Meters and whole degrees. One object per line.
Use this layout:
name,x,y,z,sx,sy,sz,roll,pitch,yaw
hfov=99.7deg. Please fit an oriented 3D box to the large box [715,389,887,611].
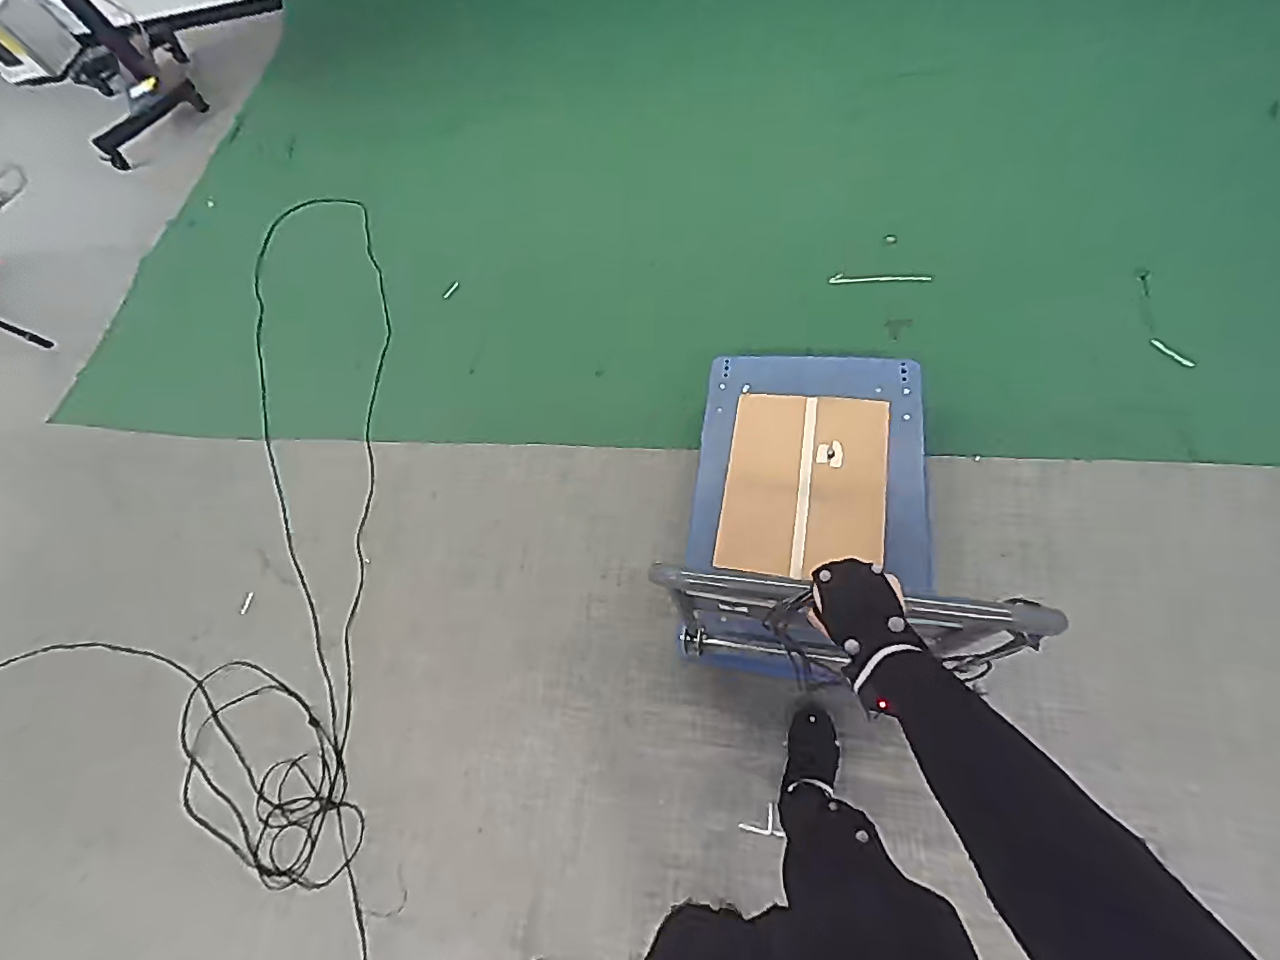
large box,0.359,0.053,1.220,0.320,0.320,0.408,7,68,15
